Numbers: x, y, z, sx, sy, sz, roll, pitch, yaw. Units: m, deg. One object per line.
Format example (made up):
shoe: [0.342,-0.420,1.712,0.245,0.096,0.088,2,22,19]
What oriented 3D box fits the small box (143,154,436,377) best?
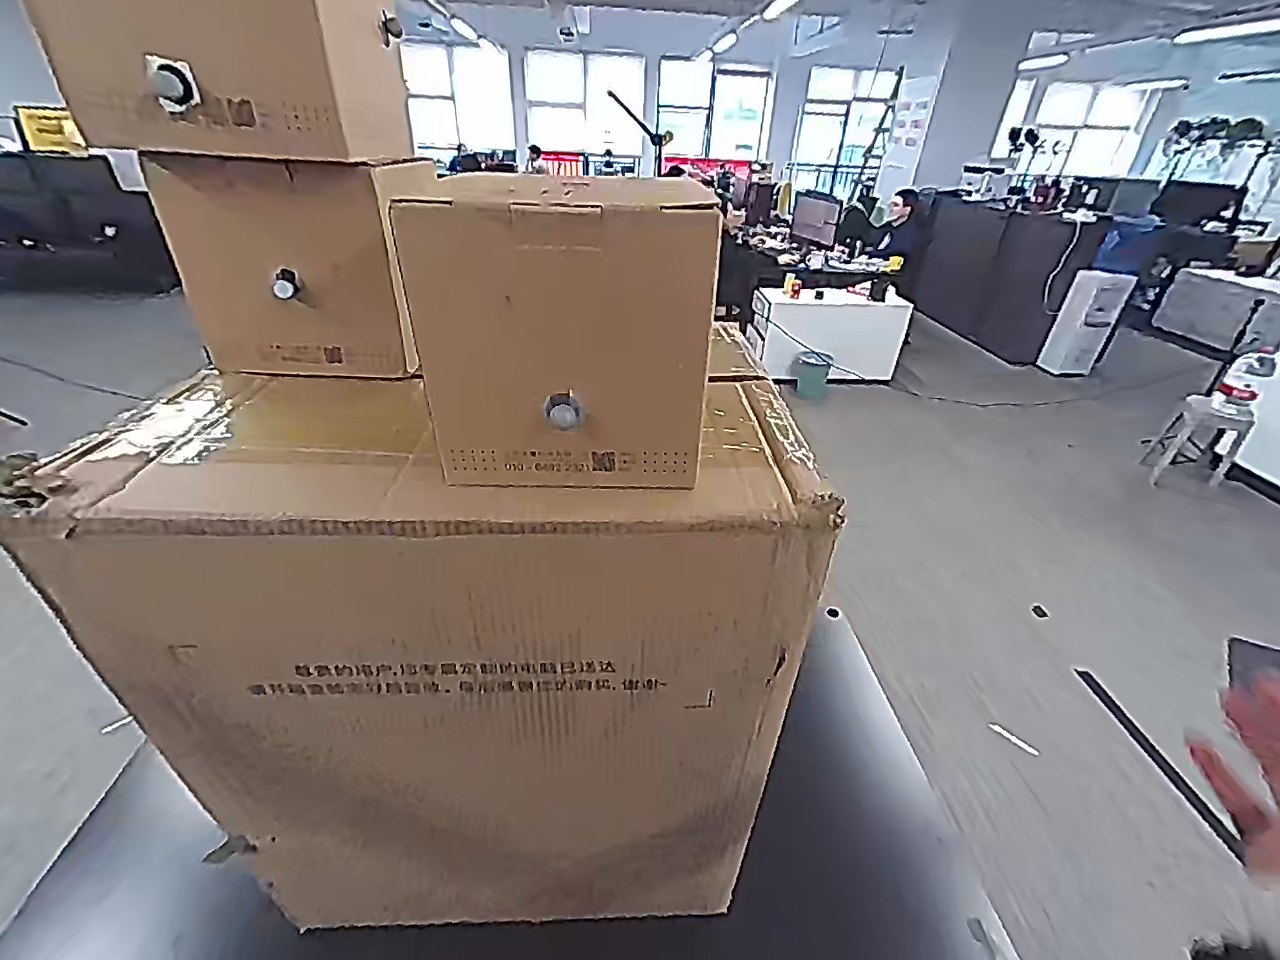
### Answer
small box: [-0.280,-0.203,0.500,0.168,0.176,0.179,1,33,-5]

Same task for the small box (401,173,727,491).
small box: [-0.040,-0.110,0.378,0.168,0.176,0.179,1,34,-1]

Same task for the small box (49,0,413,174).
small box: [-0.274,-0.323,0.384,0.168,0.176,0.179,-2,33,-6]
